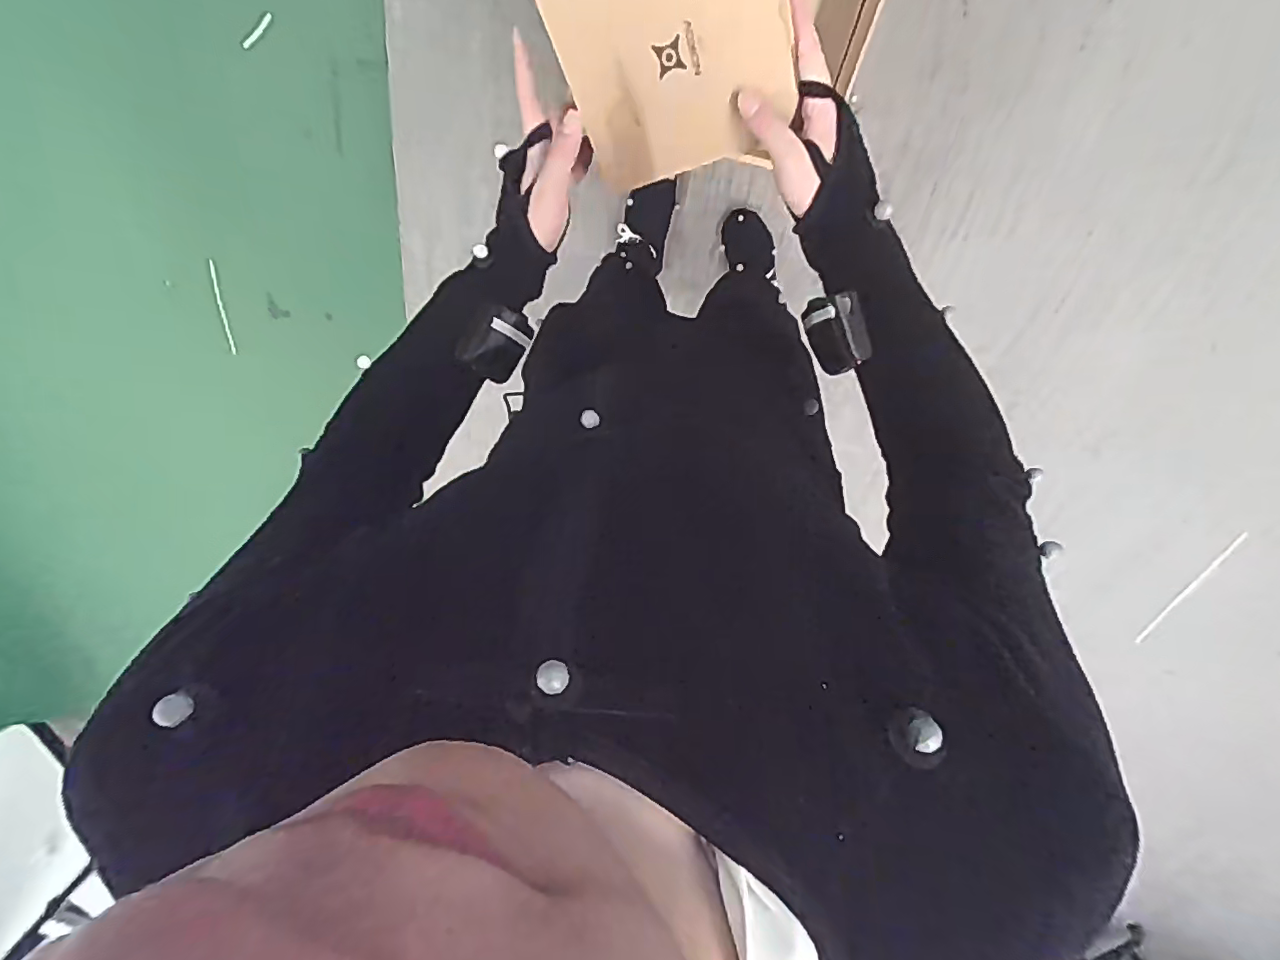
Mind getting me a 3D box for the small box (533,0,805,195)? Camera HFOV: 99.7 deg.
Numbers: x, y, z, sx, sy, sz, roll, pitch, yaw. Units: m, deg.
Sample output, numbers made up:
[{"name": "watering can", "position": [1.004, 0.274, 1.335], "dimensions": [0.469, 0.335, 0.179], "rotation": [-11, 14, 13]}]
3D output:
[{"name": "small box", "position": [0.032, -0.382, 0.455], "dimensions": [0.179, 0.176, 0.168], "rotation": [-9, 138, 19]}]
